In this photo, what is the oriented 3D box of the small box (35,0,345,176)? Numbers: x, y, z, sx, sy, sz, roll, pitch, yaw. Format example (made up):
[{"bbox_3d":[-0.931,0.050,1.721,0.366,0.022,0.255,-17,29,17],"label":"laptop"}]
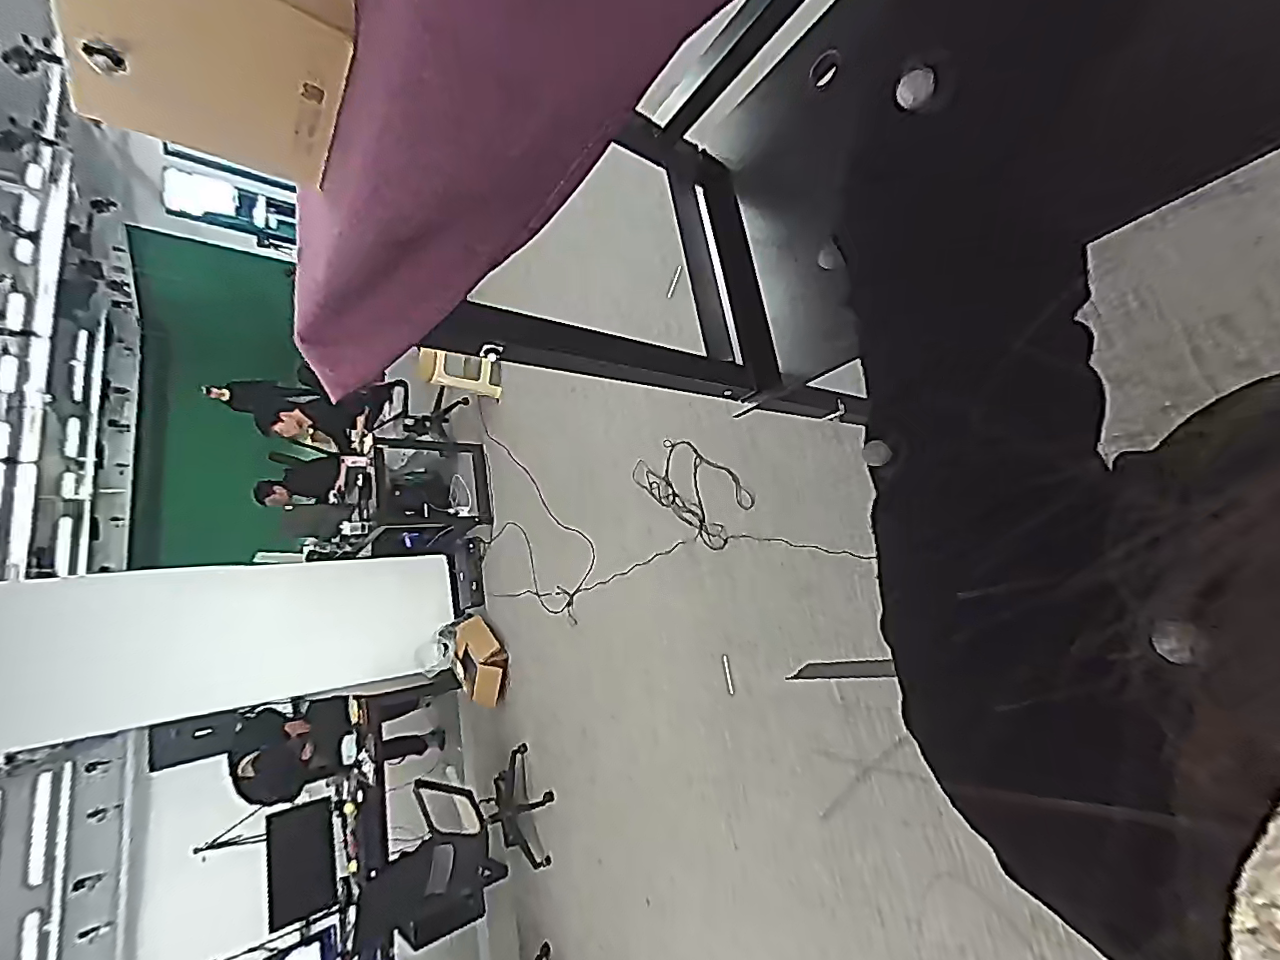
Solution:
[{"bbox_3d":[-0.342,-0.387,0.424,0.168,0.176,0.179,-27,68,48],"label":"small box"}]
